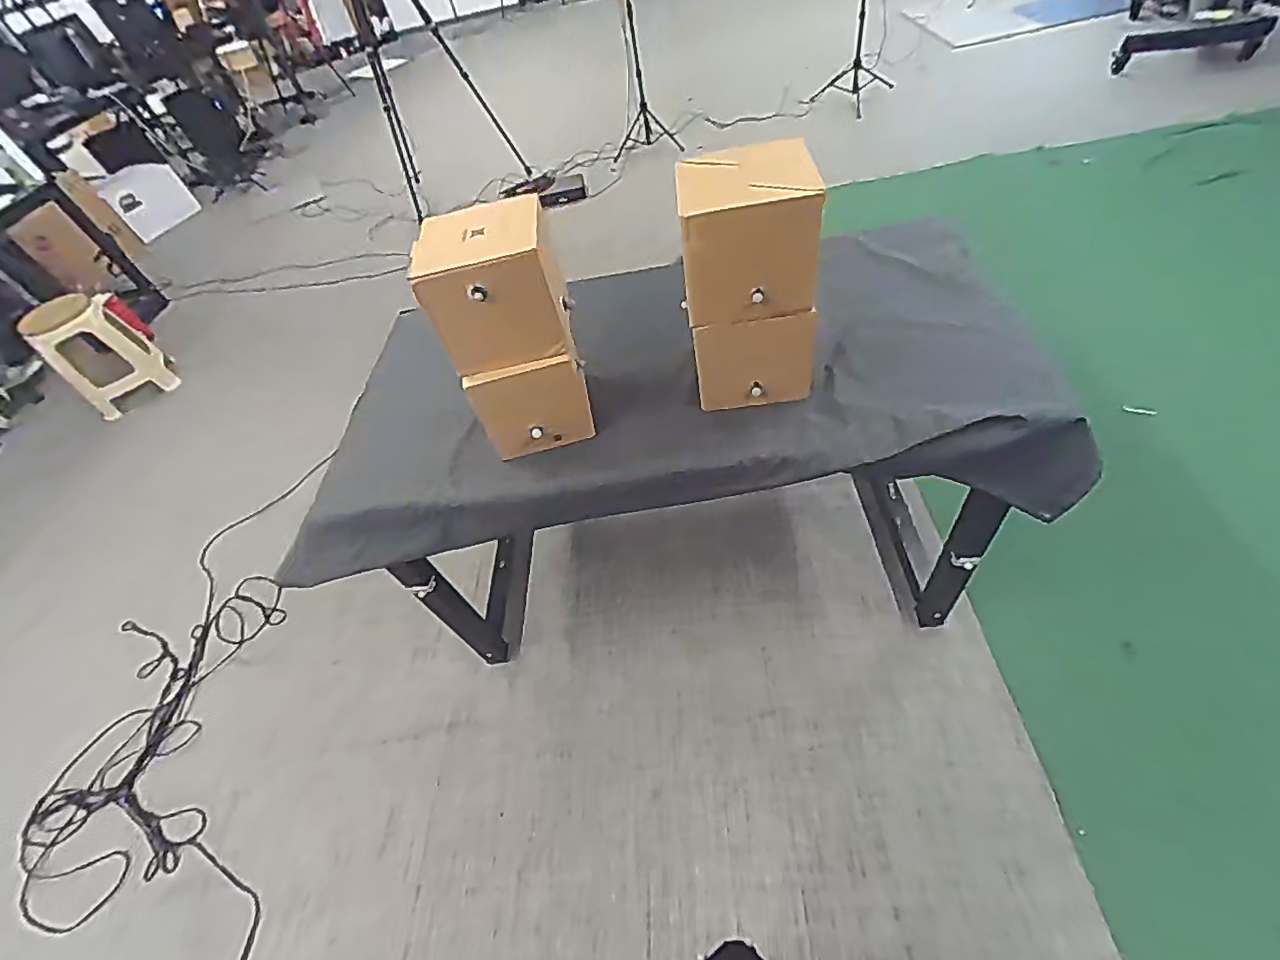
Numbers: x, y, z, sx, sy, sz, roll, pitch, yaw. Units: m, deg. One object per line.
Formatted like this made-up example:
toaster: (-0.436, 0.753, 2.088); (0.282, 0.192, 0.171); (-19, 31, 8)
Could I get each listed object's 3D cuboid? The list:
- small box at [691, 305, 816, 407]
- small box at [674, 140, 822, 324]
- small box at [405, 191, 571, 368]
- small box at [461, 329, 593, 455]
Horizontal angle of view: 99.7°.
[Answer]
small box: (0.174, -0.238, 0.876); (0.179, 0.176, 0.168); (-6, 50, 7)
small box: (0.142, -0.345, 0.749); (0.179, 0.176, 0.168); (-6, 50, 8)
small box: (-0.208, -0.284, 0.786); (0.179, 0.176, 0.168); (-11, 51, 3)
small box: (-0.183, -0.171, 0.901); (0.168, 0.176, 0.179); (-15, 50, 1)
